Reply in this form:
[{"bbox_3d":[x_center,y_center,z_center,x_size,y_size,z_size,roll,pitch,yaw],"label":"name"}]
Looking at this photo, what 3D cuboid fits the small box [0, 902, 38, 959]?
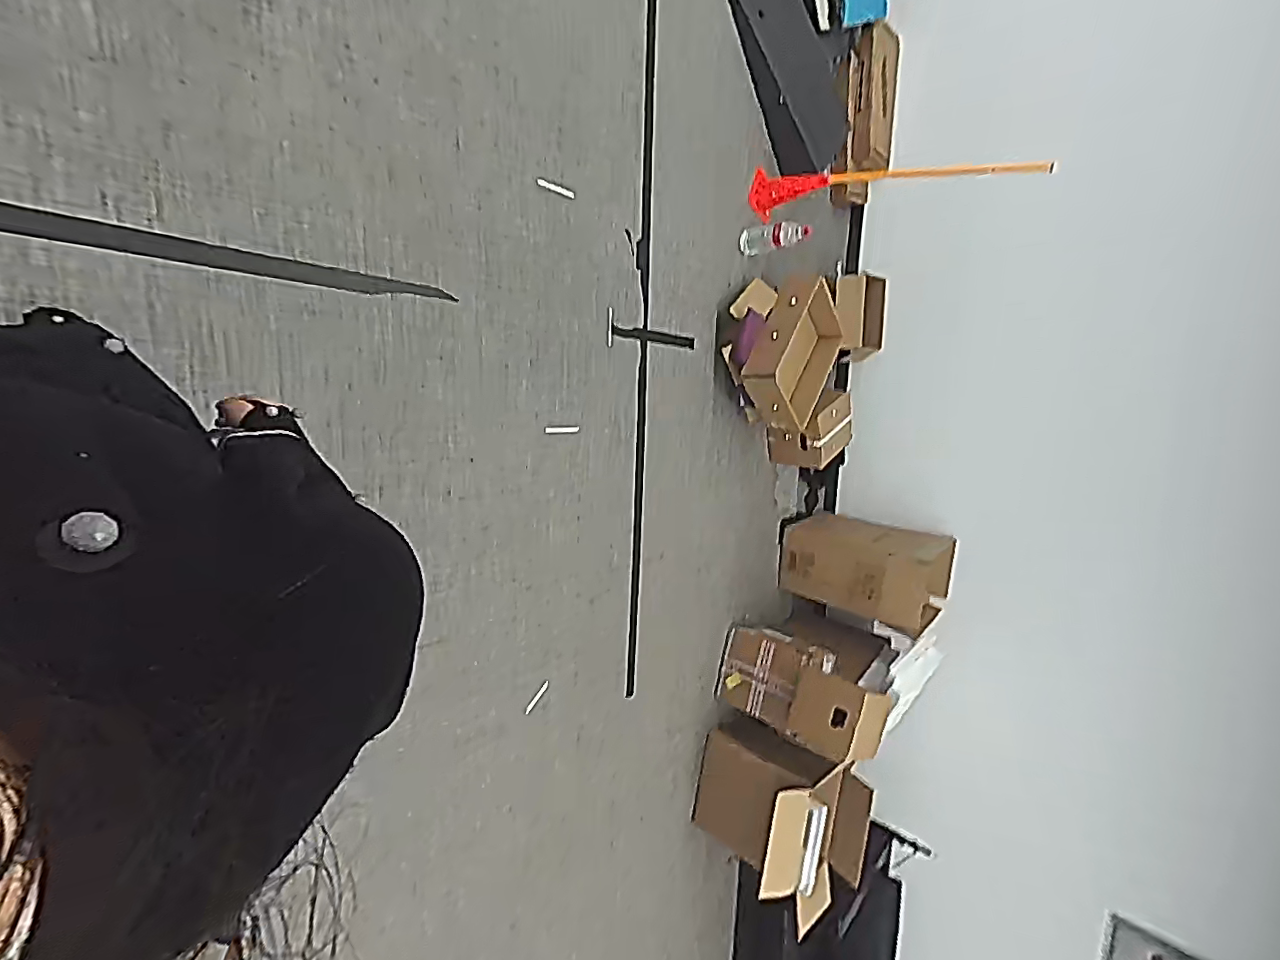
[{"bbox_3d":[-1.228,0.923,0.981,0.168,0.176,0.179,-11,106,-46],"label":"small box"}]
